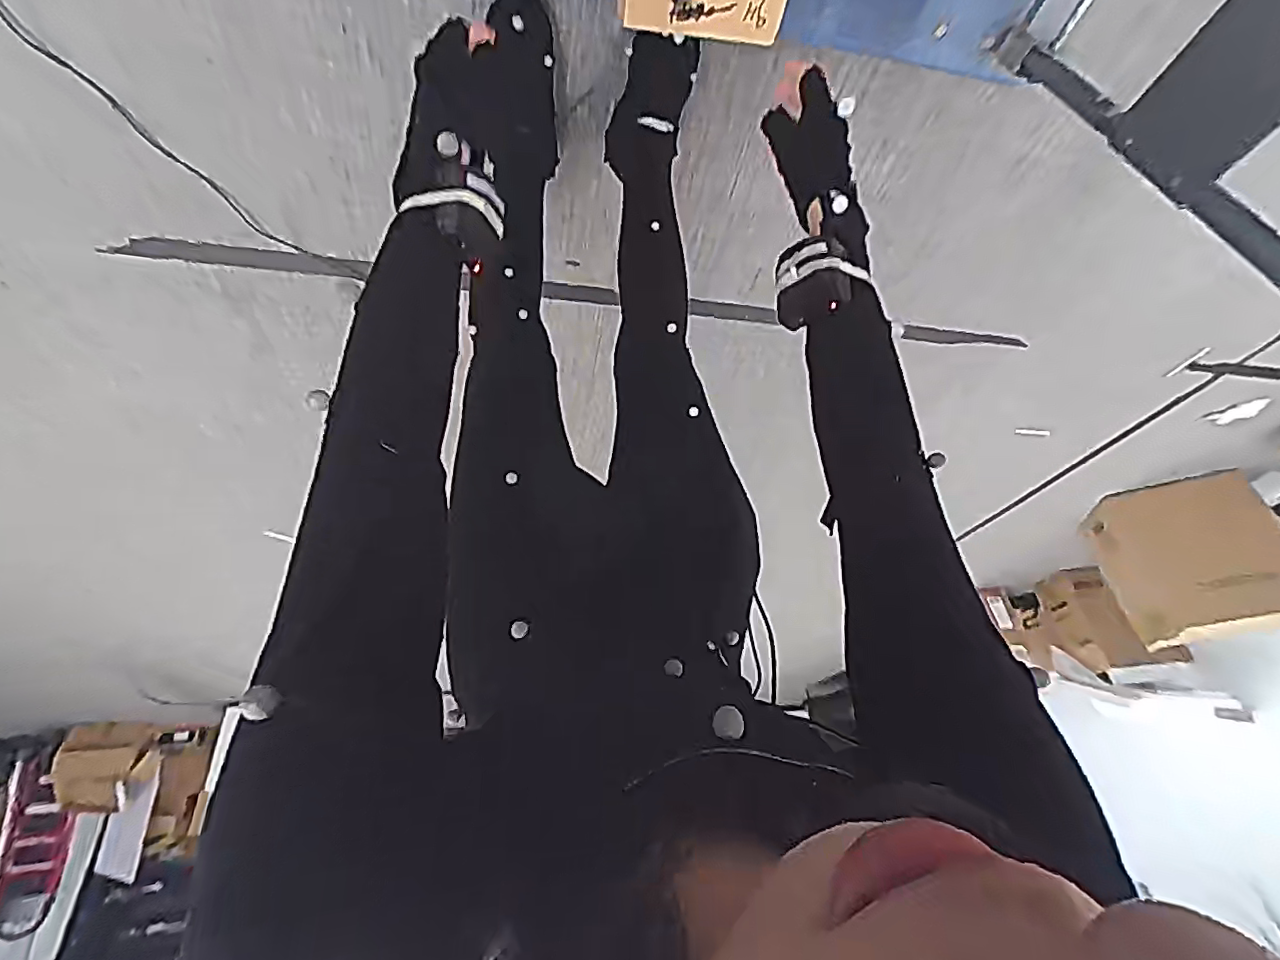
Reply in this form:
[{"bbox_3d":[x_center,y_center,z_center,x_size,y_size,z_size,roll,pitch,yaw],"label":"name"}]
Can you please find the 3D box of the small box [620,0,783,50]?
[{"bbox_3d":[0.062,-0.576,0.540,0.168,0.176,0.179,-1,146,-10],"label":"small box"}]
